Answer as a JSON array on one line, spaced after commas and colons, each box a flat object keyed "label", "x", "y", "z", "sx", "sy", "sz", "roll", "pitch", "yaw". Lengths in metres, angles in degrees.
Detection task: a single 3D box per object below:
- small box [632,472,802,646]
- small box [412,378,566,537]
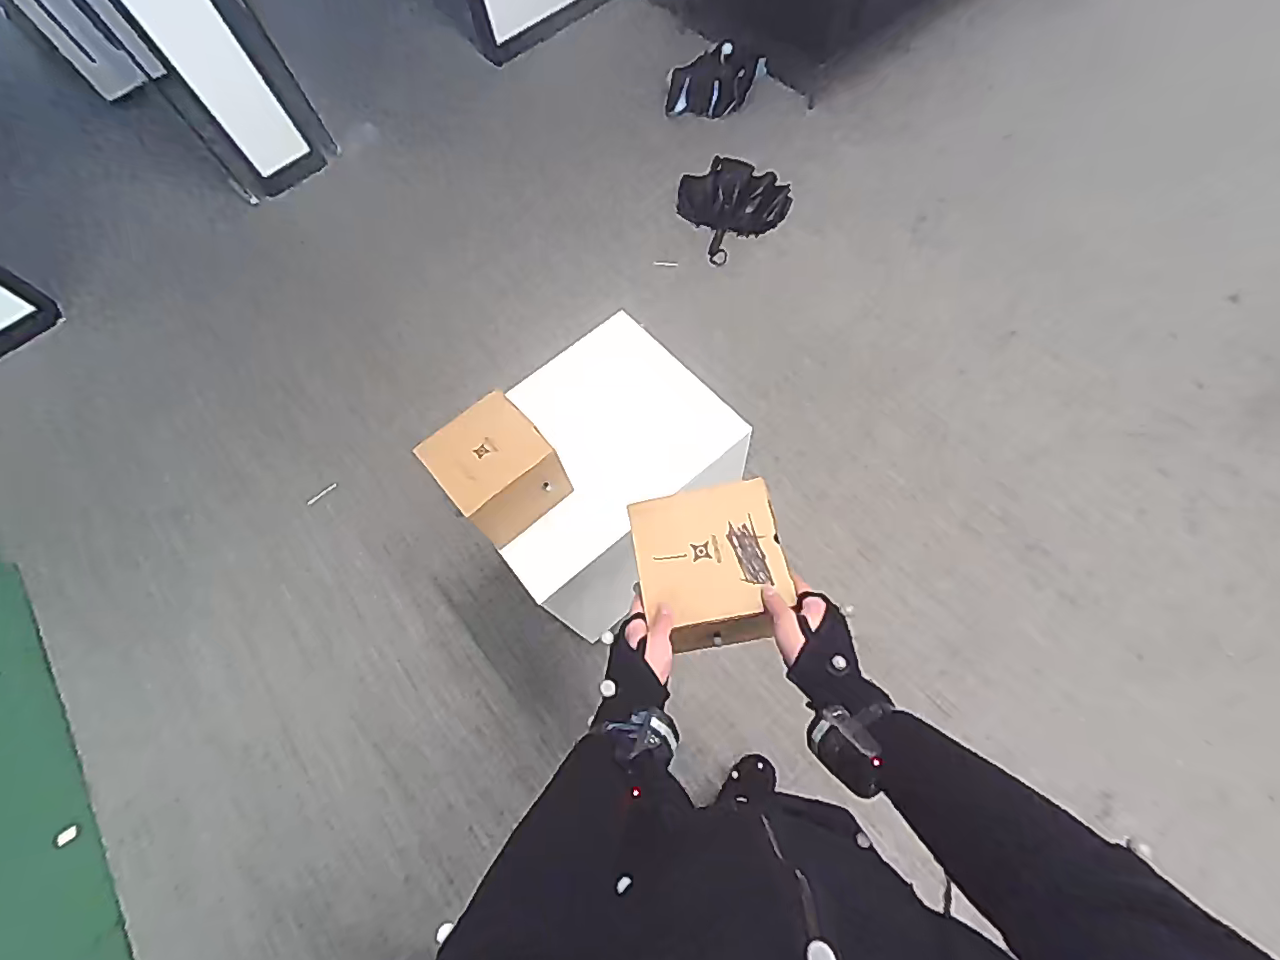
[{"label": "small box", "x": 0.090, "y": 0.109, "z": 0.702, "sx": 0.179, "sy": 0.176, "sz": 0.168, "roll": -9, "pitch": 62, "yaw": 1}, {"label": "small box", "x": -0.243, "y": -0.033, "z": 0.923, "sx": 0.179, "sy": 0.176, "sz": 0.168, "roll": -39, "pitch": 68, "yaw": -13}]
